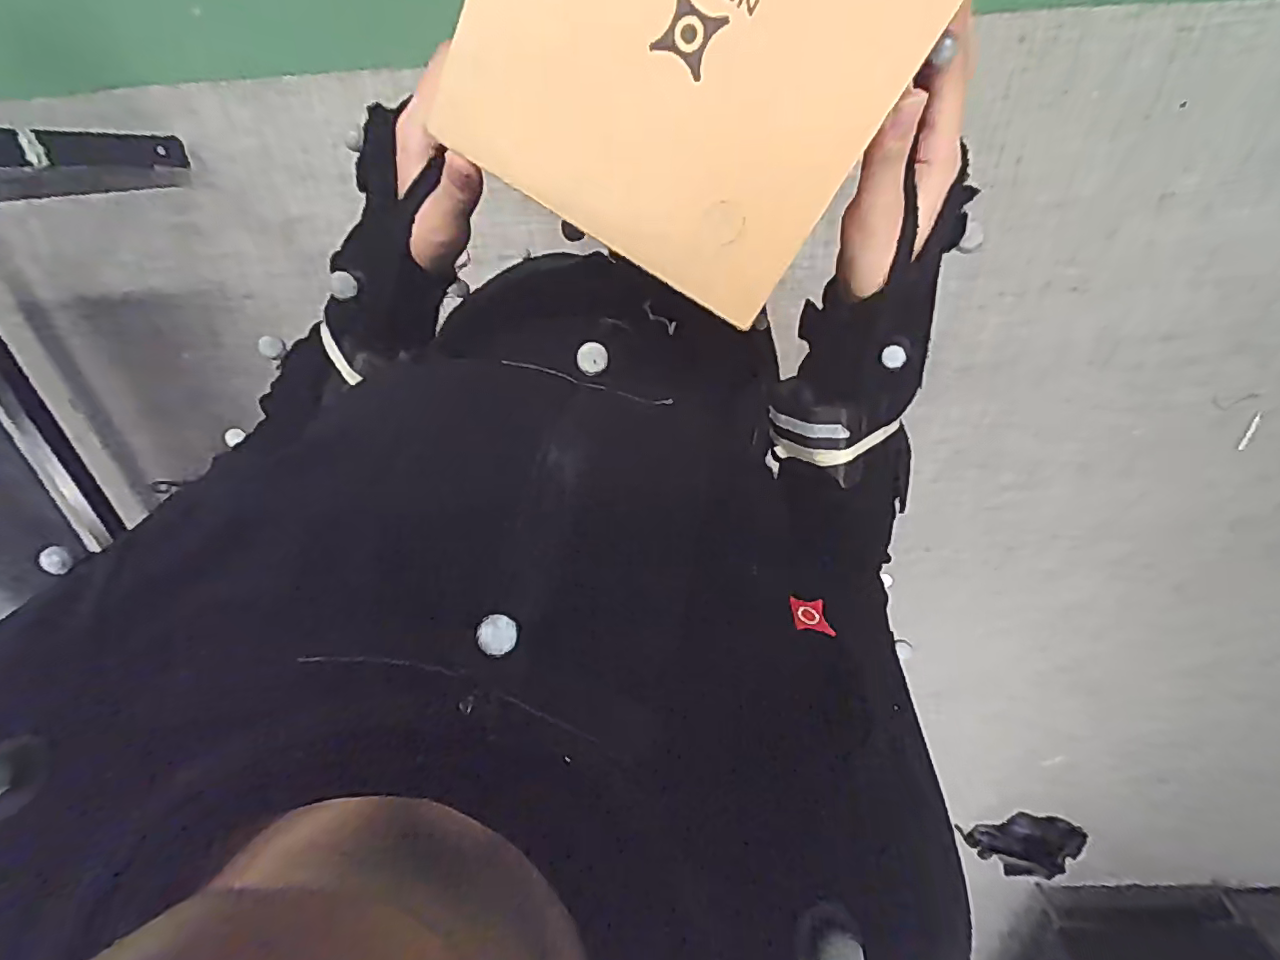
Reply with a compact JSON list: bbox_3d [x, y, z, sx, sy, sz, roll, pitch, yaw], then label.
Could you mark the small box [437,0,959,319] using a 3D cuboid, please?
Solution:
[{"bbox_3d":[0.031,-0.212,0.279,0.168,0.176,0.179,29,114,-8],"label":"small box"}]
